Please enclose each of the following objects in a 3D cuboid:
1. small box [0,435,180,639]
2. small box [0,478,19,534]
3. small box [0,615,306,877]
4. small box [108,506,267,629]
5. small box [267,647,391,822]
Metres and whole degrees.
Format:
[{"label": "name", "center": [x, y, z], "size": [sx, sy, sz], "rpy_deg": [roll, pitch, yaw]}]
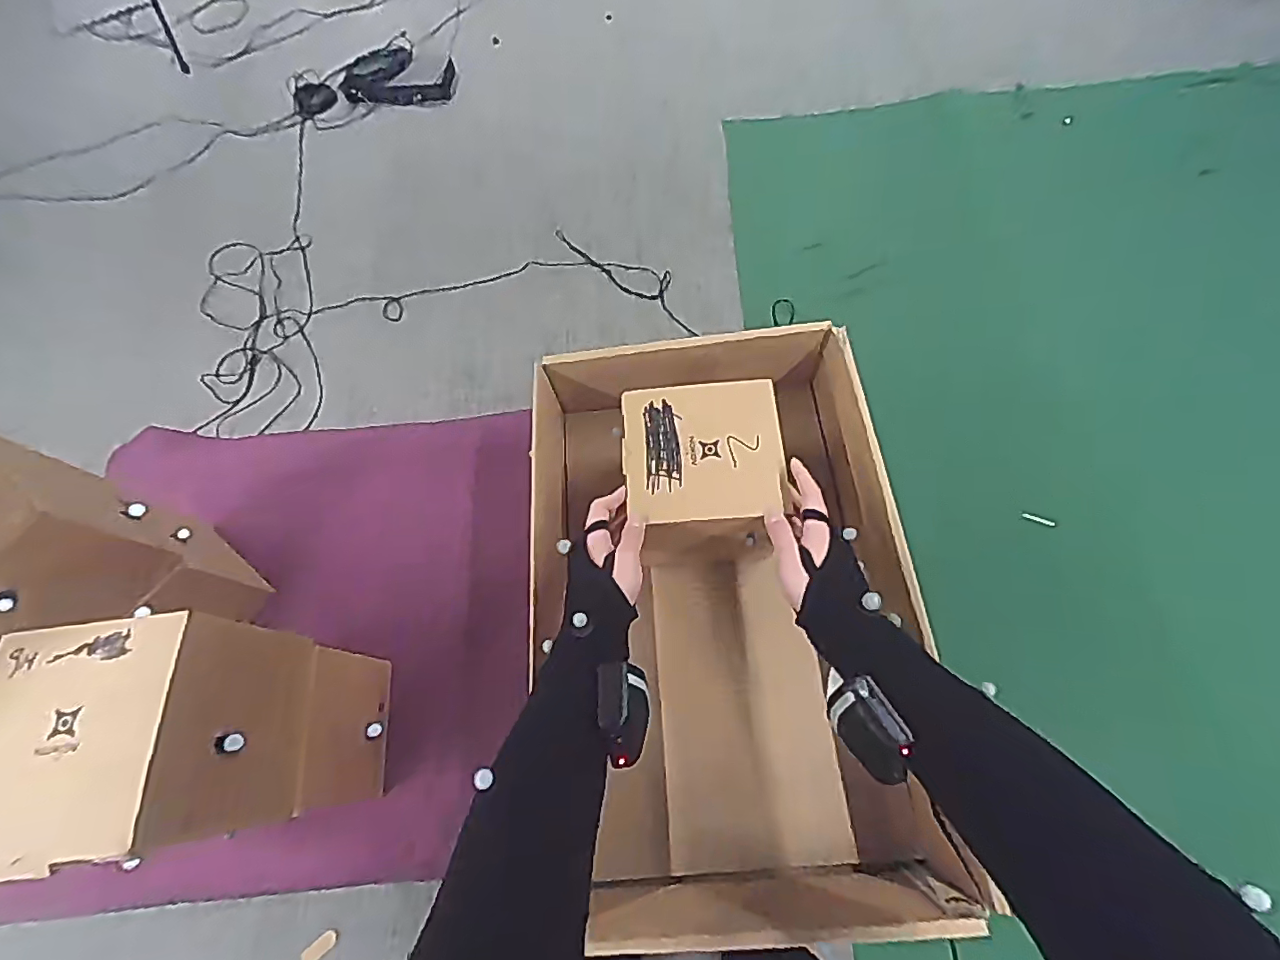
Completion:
[{"label": "small box", "center": [-0.660, 0.080, 0.570], "size": [0.168, 0.176, 0.179], "rpy_deg": [35, 74, 16]}, {"label": "small box", "center": [-0.676, 0.016, 0.422], "size": [0.179, 0.176, 0.168], "rpy_deg": [33, 74, 16]}, {"label": "small box", "center": [-0.436, 0.229, 0.486], "size": [0.168, 0.176, 0.179], "rpy_deg": [-7, 66, 1]}, {"label": "small box", "center": [-0.654, 0.148, 0.718], "size": [0.179, 0.176, 0.168], "rpy_deg": [35, 73, 17]}, {"label": "small box", "center": [-0.422, 0.300, 0.633], "size": [0.179, 0.176, 0.168], "rpy_deg": [-8, 65, 1]}]
